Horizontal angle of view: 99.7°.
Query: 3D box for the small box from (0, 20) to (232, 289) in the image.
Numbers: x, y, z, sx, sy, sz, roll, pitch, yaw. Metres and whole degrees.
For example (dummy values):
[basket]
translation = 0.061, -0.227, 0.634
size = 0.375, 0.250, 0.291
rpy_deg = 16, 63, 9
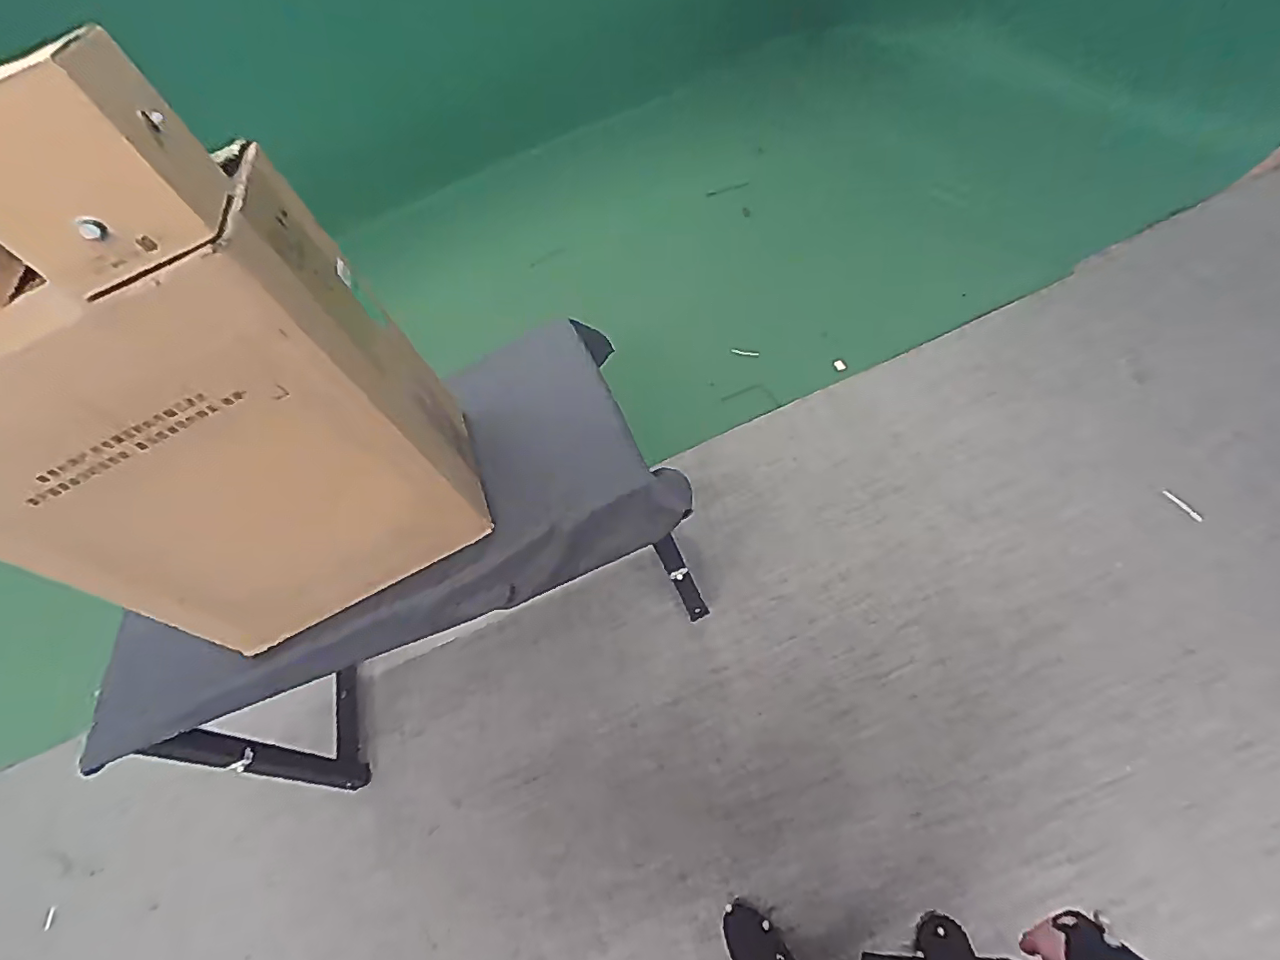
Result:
[small box]
translation = -0.574, -0.335, 0.567
size = 0.168, 0.176, 0.179
rpy_deg = -27, 52, -2
